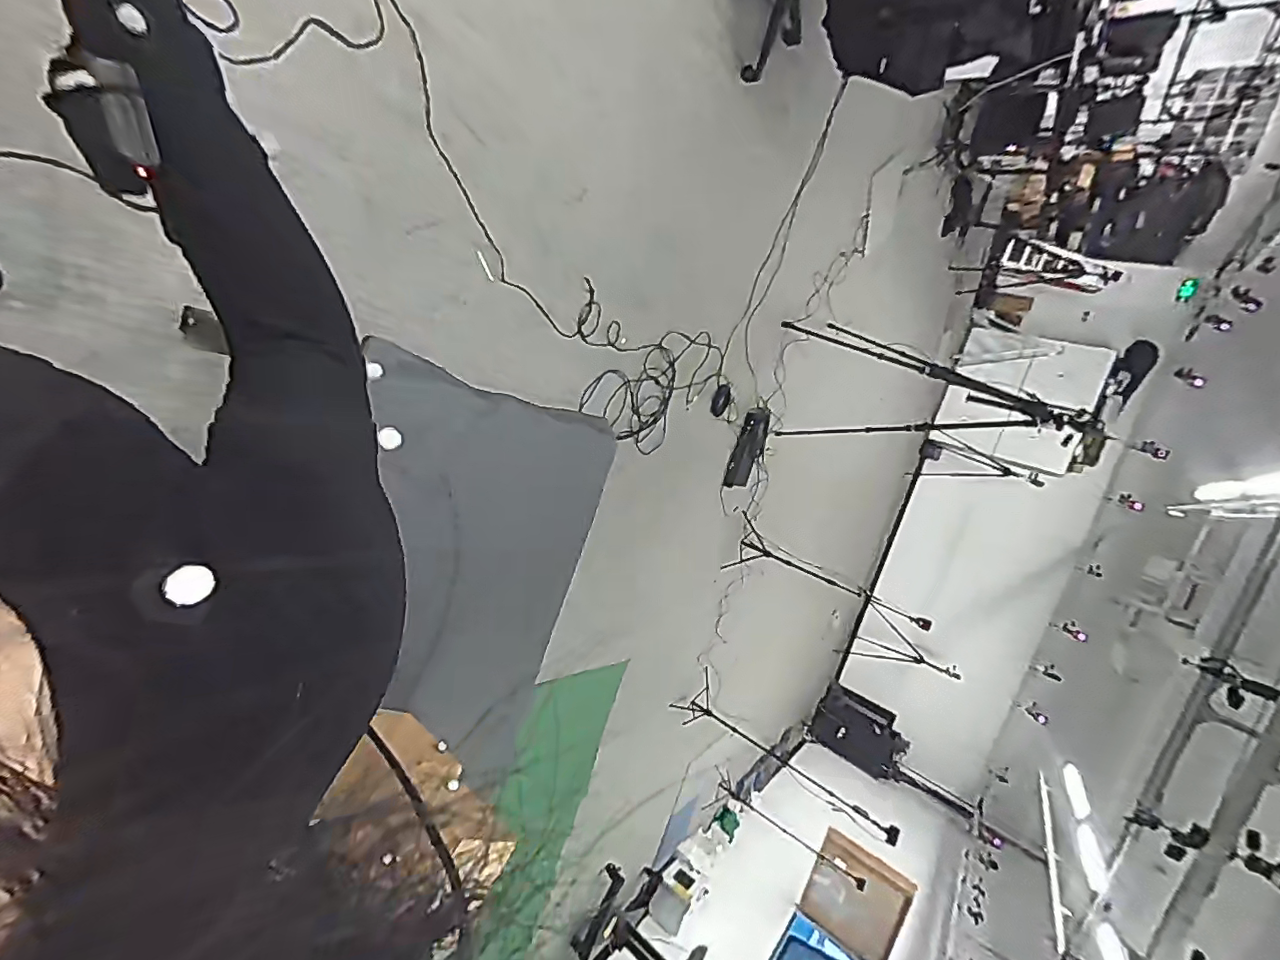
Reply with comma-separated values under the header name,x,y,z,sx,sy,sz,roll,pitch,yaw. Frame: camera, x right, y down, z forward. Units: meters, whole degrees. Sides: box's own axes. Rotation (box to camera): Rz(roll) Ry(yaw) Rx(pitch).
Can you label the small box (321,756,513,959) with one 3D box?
name,x,y,z,sx,sy,sz,roll,pitch,yaw
small box,-0.331,0.549,0.799,0.179,0.176,0.168,-53,146,-20
